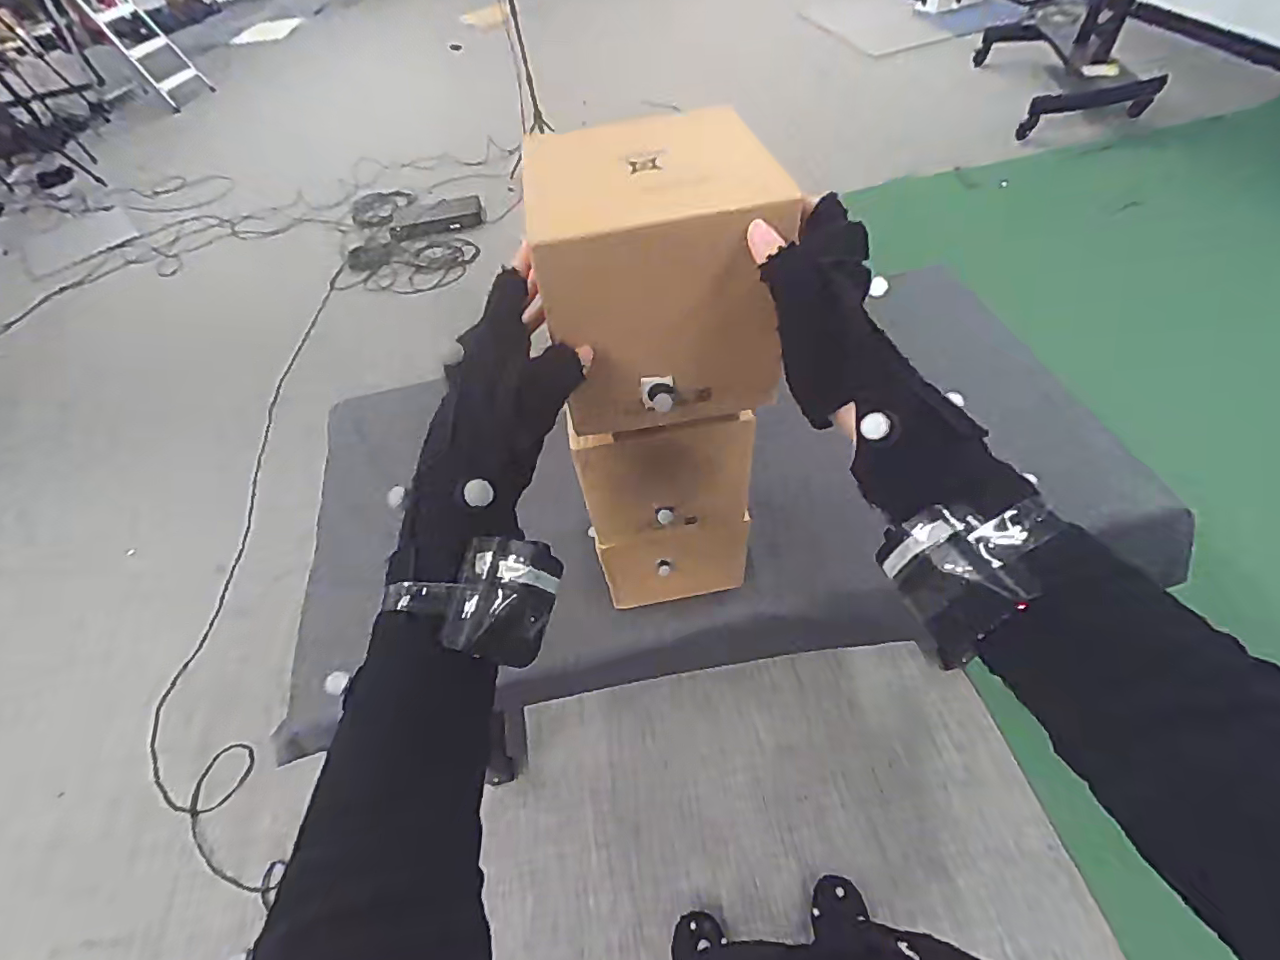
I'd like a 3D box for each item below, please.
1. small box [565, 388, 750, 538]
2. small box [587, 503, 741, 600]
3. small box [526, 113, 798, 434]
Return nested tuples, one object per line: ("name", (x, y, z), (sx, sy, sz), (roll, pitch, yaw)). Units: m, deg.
("small box", (0.014, -0.060, 0.587), (0.168, 0.176, 0.179), (-9, 53, 0))
("small box", (0.029, 0.043, 0.715), (0.179, 0.176, 0.168), (-10, 53, 0))
("small box", (0.009, -0.162, 0.432), (0.168, 0.176, 0.179), (-9, 51, -1))
